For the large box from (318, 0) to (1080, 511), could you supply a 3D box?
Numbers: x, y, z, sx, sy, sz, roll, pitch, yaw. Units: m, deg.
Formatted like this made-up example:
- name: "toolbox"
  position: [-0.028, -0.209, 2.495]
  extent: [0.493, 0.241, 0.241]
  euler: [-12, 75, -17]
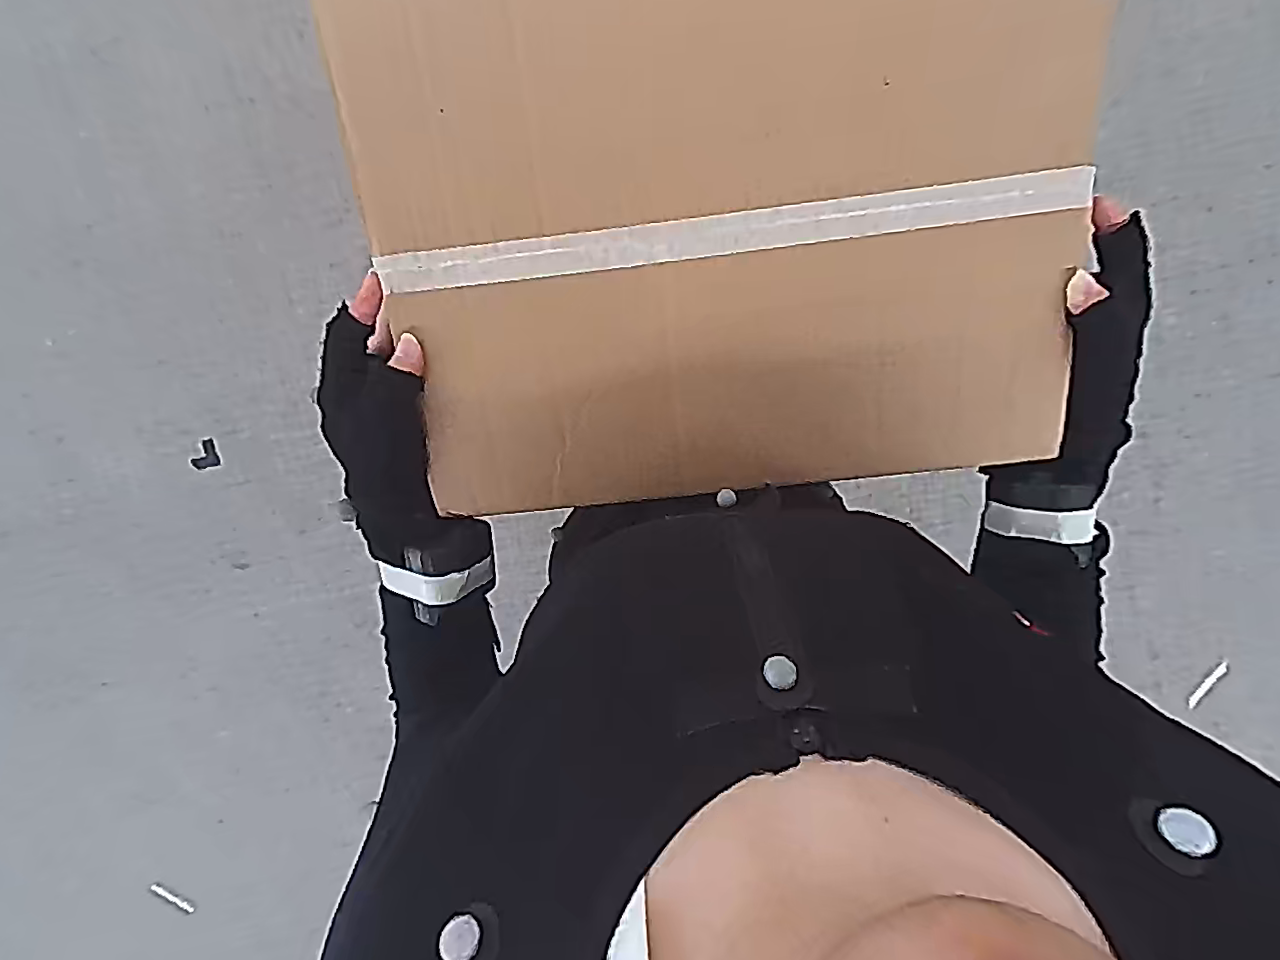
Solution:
- name: "large box"
  position: [0.045, -0.192, 0.461]
  extent: [0.408, 0.320, 0.320]
  euler: [-6, 107, 2]
